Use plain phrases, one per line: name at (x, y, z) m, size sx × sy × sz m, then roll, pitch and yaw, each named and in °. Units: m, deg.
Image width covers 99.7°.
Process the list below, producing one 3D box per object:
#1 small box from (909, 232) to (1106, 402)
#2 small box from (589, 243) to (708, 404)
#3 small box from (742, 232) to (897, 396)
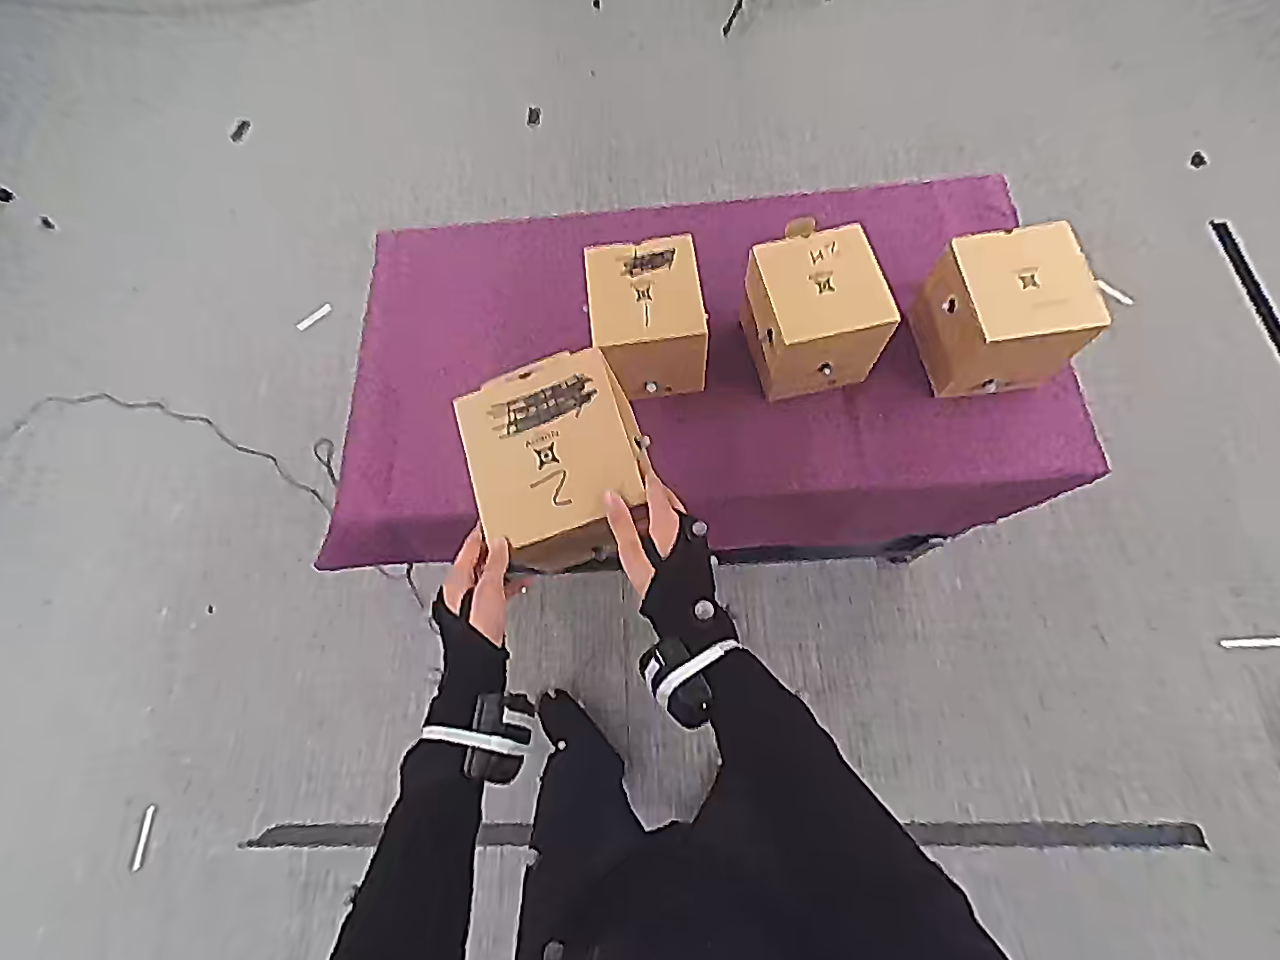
small box at (0.538, -0.241, 0.825) m, size 0.168 × 0.176 × 0.179 m, roll -7°, pitch 69°, yaw 3°
small box at (0.013, -0.244, 0.868) m, size 0.168 × 0.176 × 0.179 m, roll -7°, pitch 70°, yaw 2°
small box at (0.267, -0.247, 0.848) m, size 0.168 × 0.176 × 0.179 m, roll -12°, pitch 69°, yaw 0°
